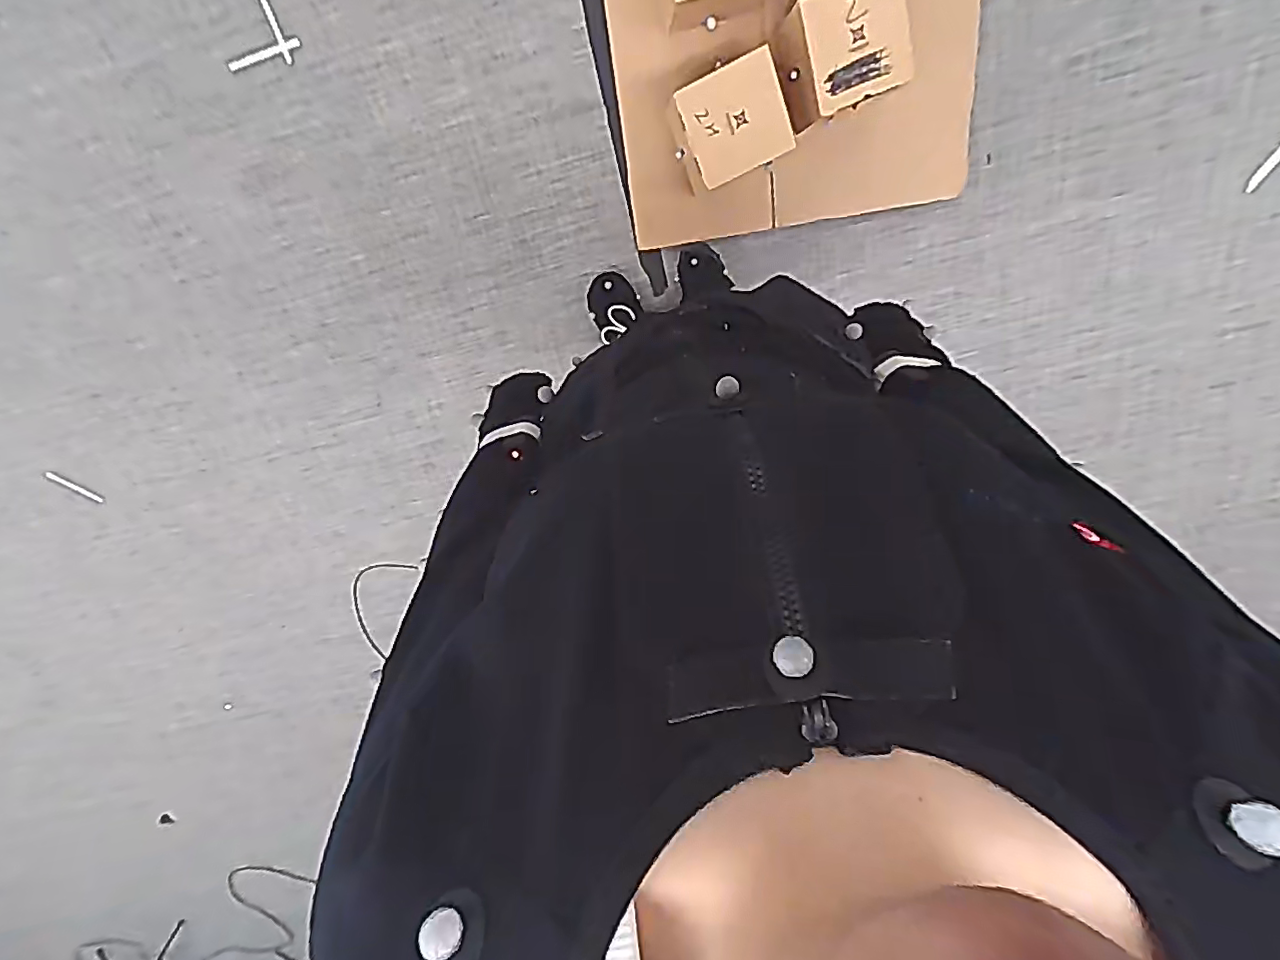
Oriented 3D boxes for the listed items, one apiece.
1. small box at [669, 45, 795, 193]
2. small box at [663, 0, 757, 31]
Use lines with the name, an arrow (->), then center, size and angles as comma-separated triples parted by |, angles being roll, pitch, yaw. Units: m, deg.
small box -> 0.165, -0.665, 1.018 | 0.179, 0.176, 0.168 | -22, 112, 9
small box -> 0.116, -0.903, 0.908 | 0.168, 0.176, 0.179 | -11, 115, 4
